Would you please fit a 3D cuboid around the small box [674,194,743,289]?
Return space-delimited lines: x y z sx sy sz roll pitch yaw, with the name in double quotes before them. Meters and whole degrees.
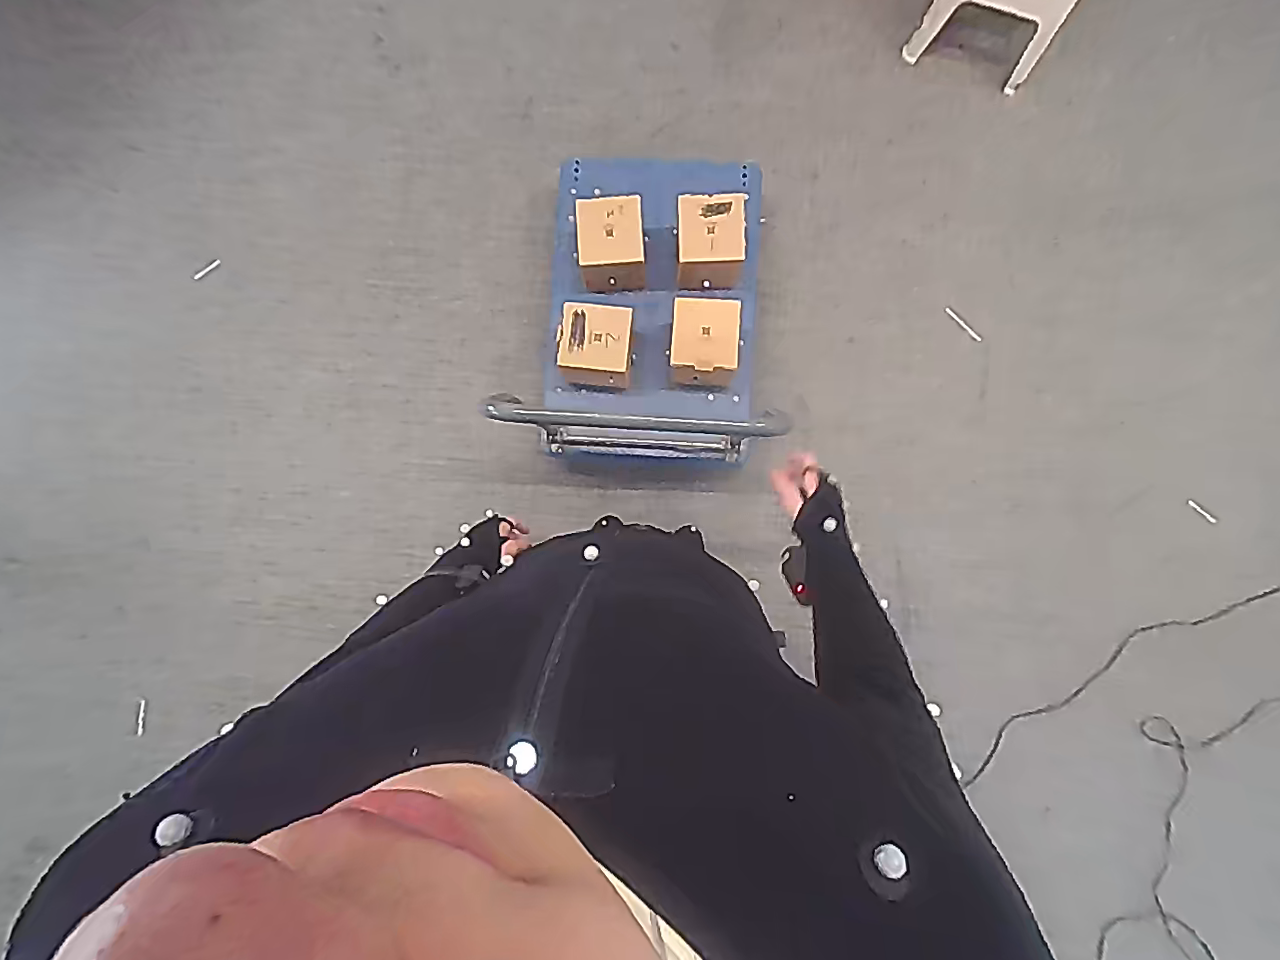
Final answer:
"small box" 0.175 -0.625 1.427 0.168 0.176 0.179 -1 87 2

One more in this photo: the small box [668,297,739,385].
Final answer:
"small box" 0.161 -0.357 1.411 0.168 0.176 0.179 3 86 2

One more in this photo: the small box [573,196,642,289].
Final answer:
"small box" -0.080 -0.620 1.434 0.168 0.176 0.179 -4 86 1
